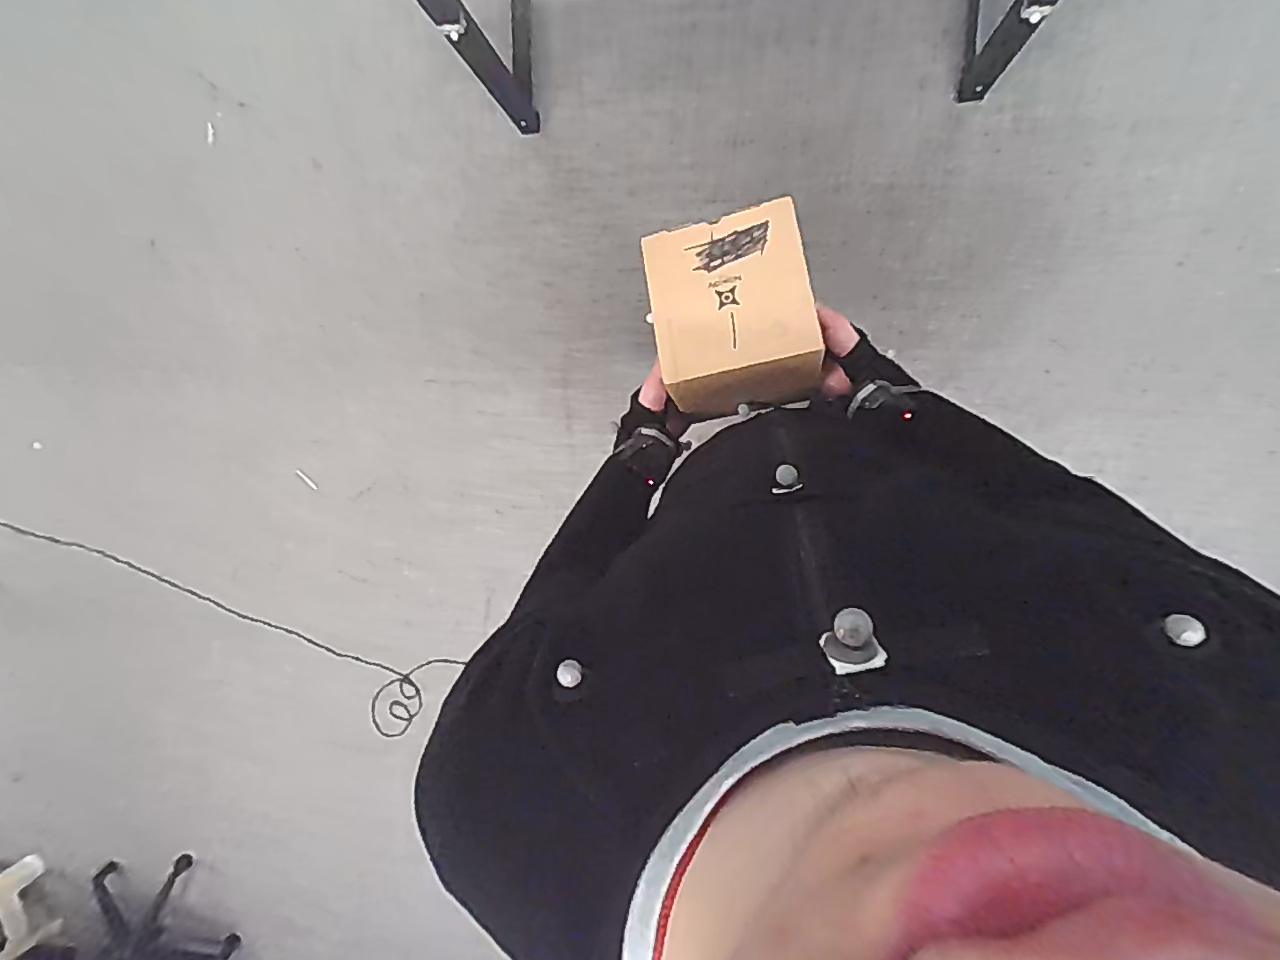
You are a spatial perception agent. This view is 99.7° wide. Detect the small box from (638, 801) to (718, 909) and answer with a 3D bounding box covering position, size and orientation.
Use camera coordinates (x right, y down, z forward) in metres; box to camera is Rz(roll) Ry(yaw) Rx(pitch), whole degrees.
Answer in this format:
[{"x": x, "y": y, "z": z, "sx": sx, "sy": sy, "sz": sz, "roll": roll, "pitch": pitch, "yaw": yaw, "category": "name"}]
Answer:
[{"x": 0.119, "y": 1.125, "z": 1.637, "sx": 0.168, "sy": 0.176, "sz": 0.179, "roll": 46, "pitch": 103, "yaw": 2, "category": "small box"}]
